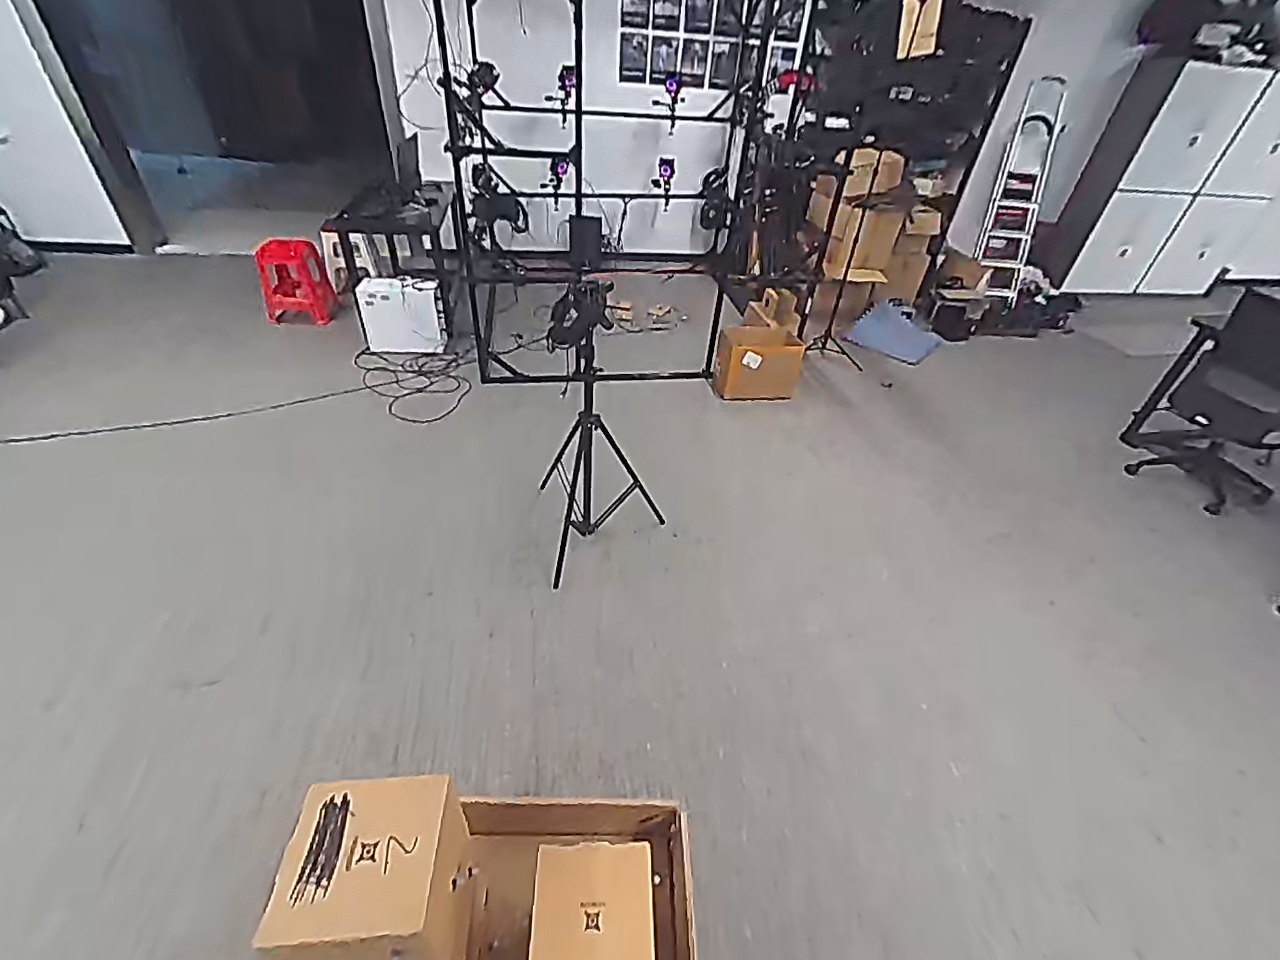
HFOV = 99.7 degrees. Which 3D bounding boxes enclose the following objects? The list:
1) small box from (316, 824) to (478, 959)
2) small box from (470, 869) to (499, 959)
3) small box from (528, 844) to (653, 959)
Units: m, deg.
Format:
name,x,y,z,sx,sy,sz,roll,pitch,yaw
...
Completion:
name,x,y,z,sx,sy,sz,roll,pitch,yaw
small box,-0.335,0.631,0.779,0.168,0.176,0.179,-2,38,-6
small box,-0.336,0.761,0.880,0.179,0.176,0.168,1,39,-5
small box,-0.069,0.656,0.779,0.168,0.176,0.179,1,37,-5
